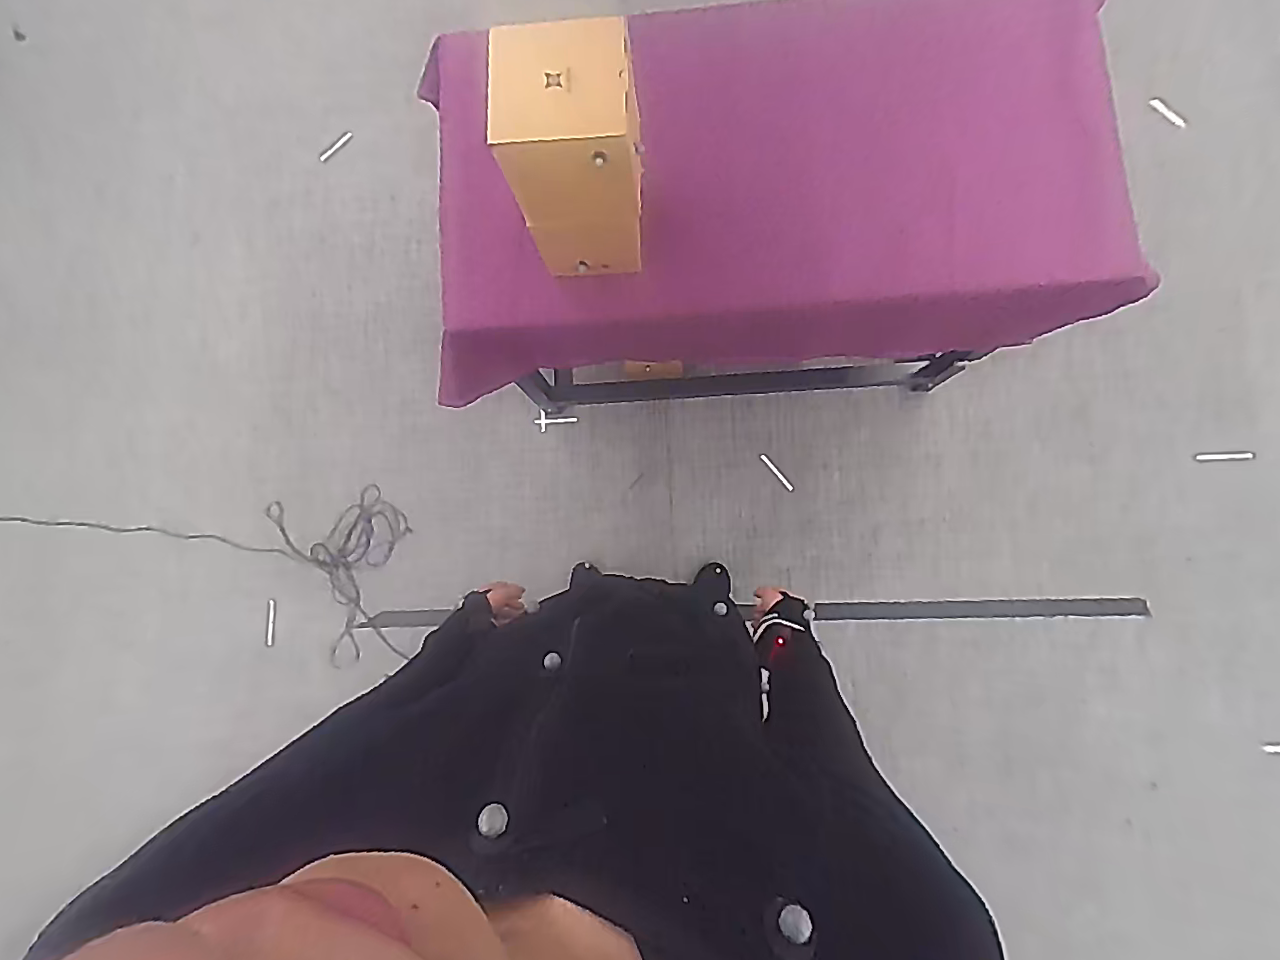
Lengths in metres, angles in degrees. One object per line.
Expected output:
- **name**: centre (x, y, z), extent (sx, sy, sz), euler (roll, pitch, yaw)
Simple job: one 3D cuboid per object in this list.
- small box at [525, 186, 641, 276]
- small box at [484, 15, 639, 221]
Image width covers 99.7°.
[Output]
- **small box**: centre (-0.088, -0.463, 0.898), extent (0.168, 0.176, 0.179), euler (-2, 84, 5)
- **small box**: centre (-0.097, -0.476, 0.737), extent (0.179, 0.176, 0.168), euler (-1, 83, 4)
